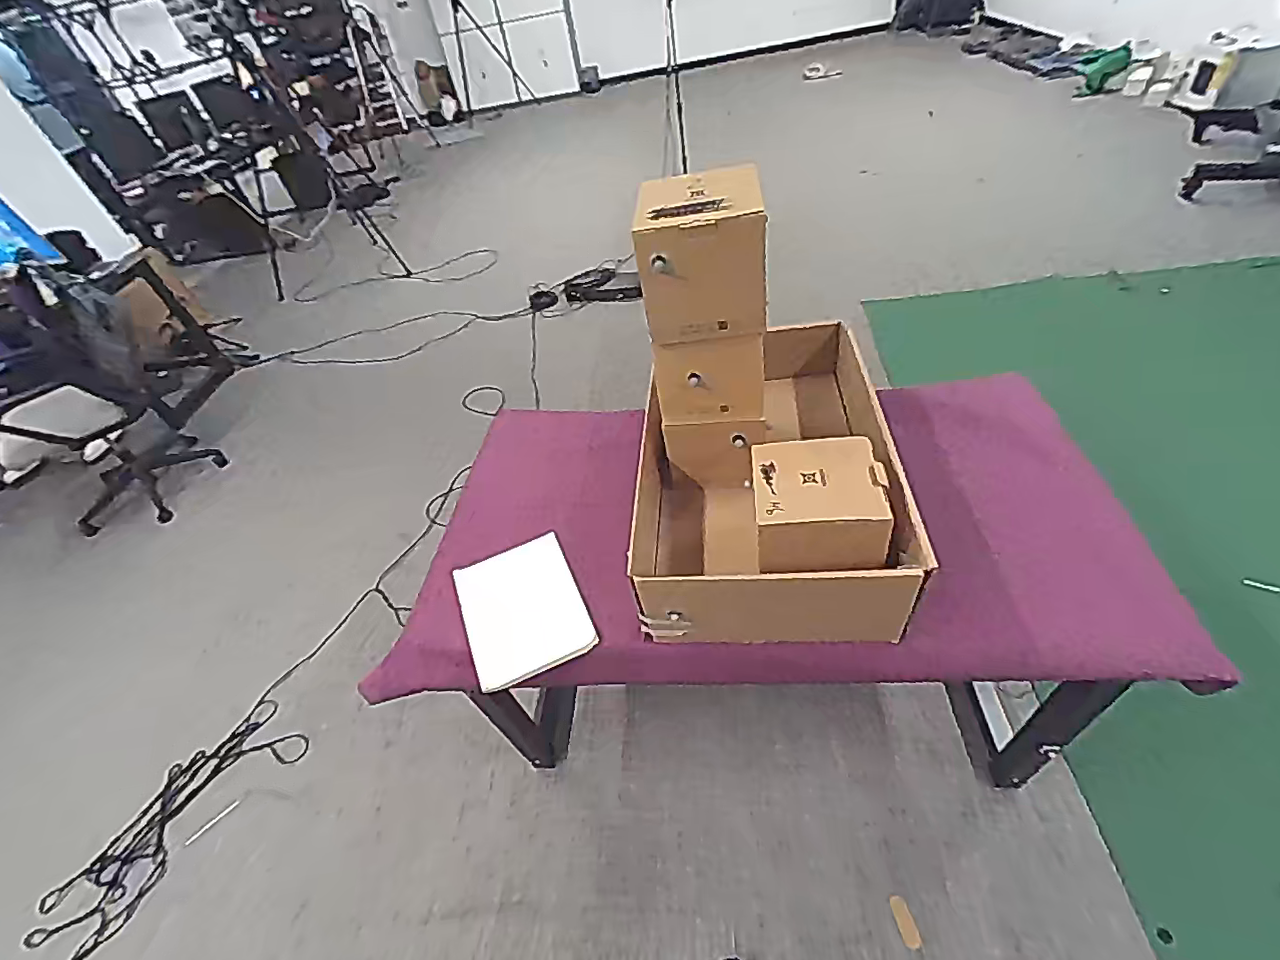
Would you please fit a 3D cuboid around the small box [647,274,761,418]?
[{"bbox_3d":[0.113,-0.215,0.898,0.168,0.176,0.179,-2,47,11],"label":"small box"}]
